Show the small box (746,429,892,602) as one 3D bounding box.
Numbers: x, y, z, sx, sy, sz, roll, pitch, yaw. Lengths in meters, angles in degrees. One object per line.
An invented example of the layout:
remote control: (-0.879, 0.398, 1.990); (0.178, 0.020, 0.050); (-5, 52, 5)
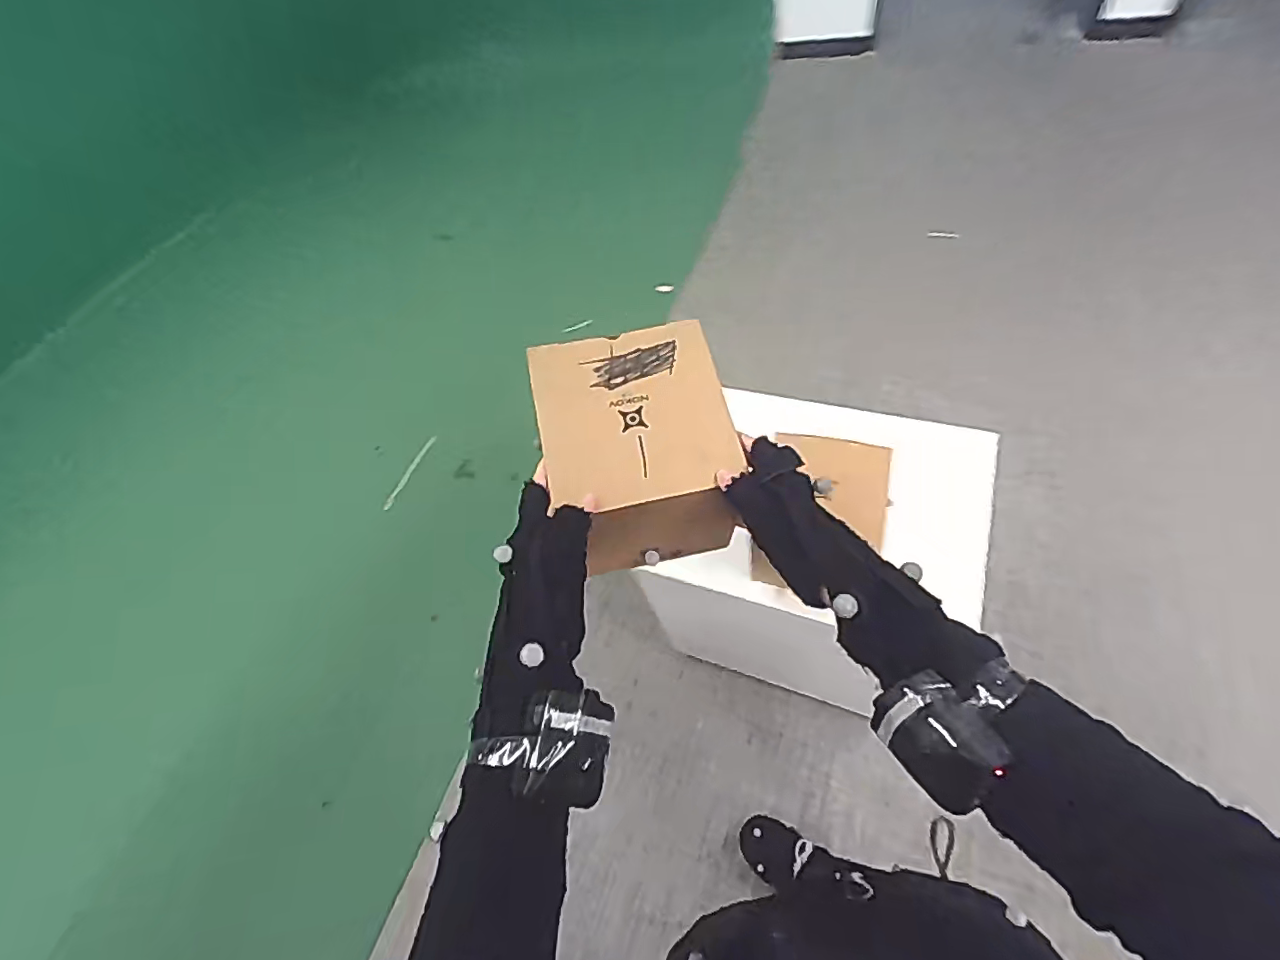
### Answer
small box: (0.253, 0.053, 0.778); (0.168, 0.176, 0.179); (9, 63, 20)
